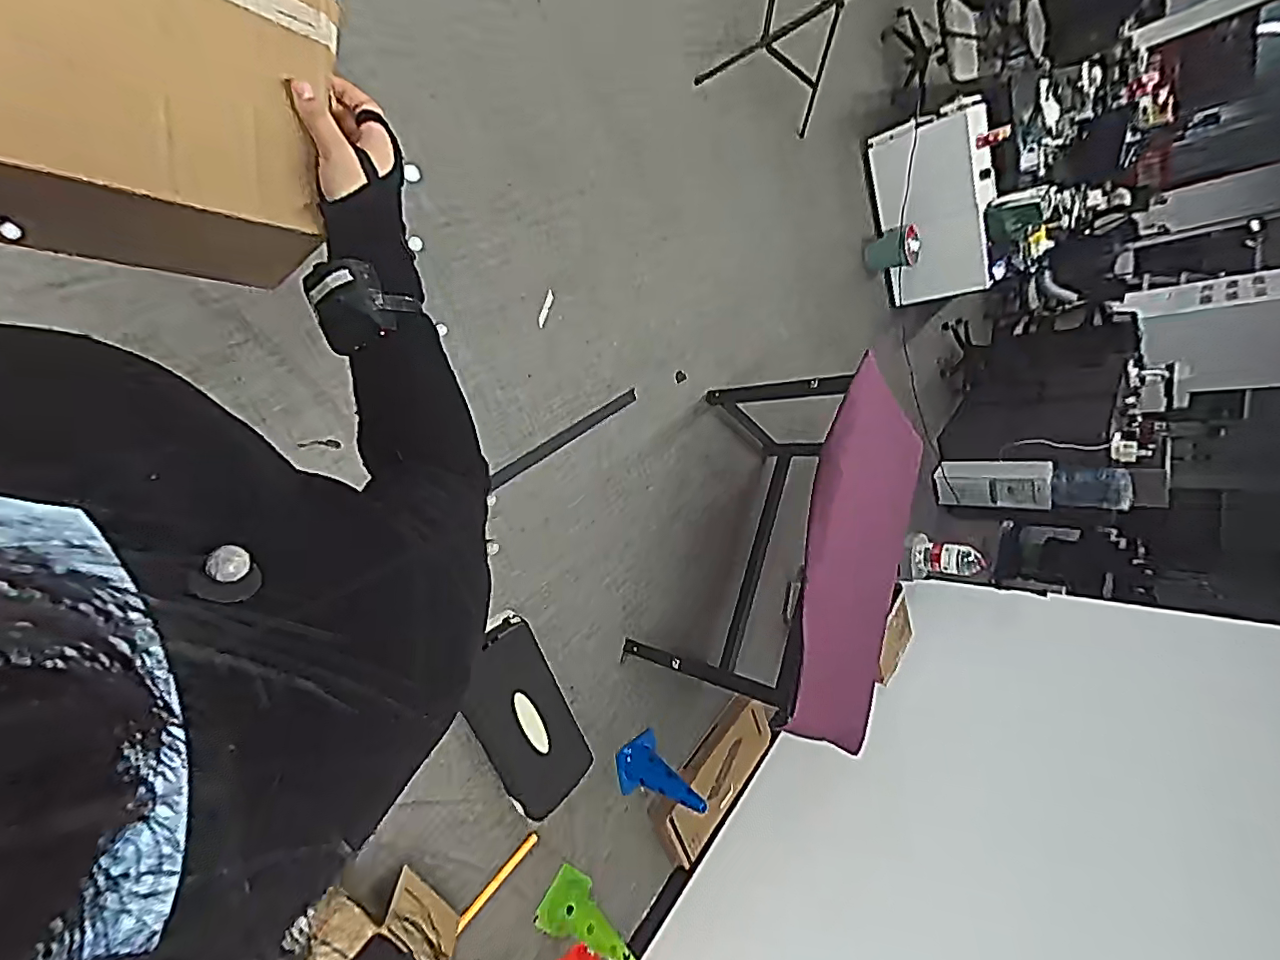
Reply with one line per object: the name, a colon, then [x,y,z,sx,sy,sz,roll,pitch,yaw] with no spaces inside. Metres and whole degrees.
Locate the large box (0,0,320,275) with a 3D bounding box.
large box: [-0.507,-0.375,0.421,0.408,0.320,0.320,-2,98,-40]
